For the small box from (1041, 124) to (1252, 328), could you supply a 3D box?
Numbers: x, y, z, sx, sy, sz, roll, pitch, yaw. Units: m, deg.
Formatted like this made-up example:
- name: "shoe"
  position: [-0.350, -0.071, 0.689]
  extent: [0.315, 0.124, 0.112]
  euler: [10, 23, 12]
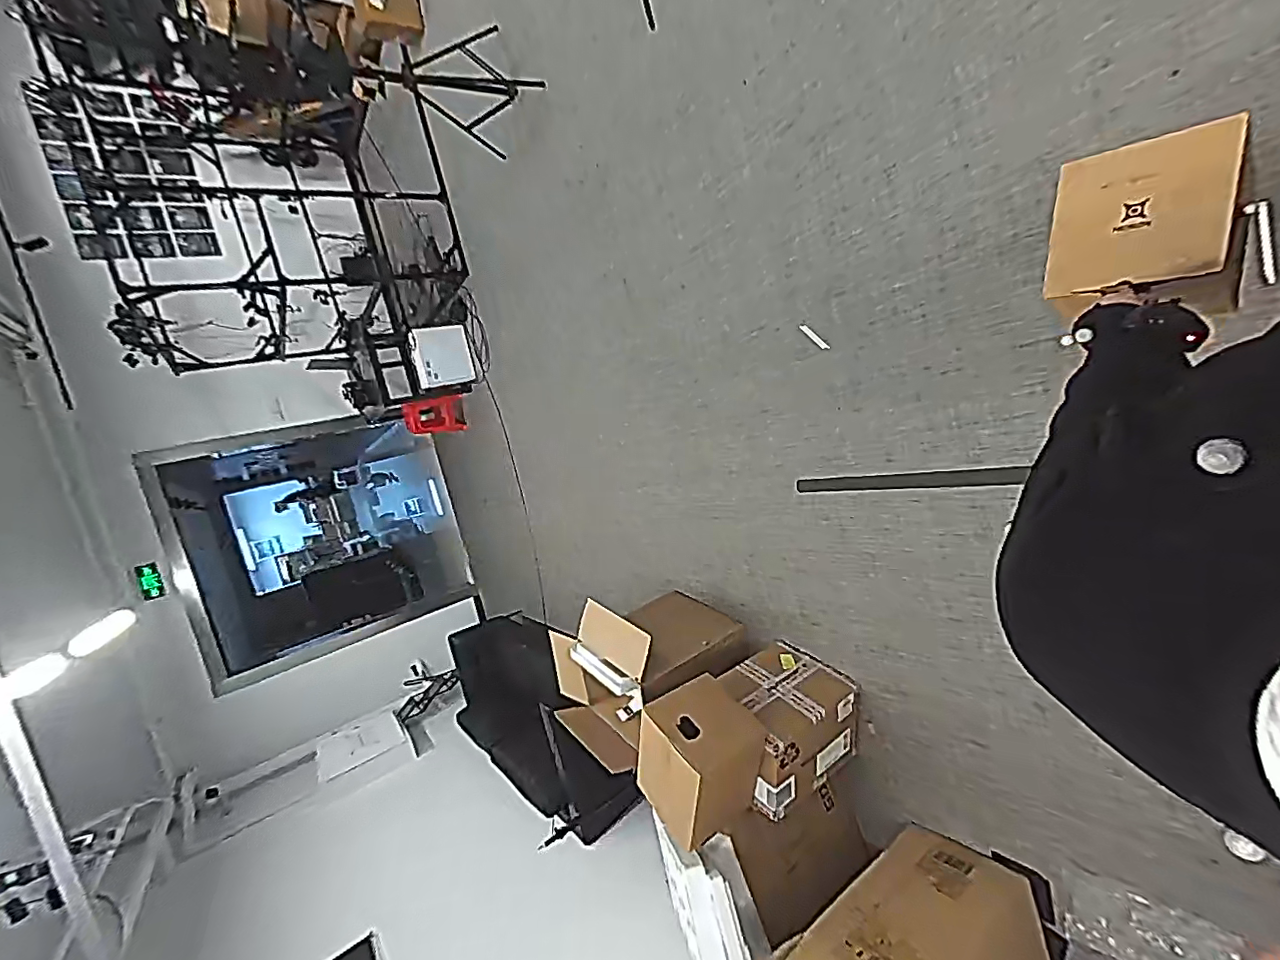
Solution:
- name: "small box"
  position: [0.653, -0.303, 0.698]
  extent: [0.168, 0.176, 0.179]
  euler: [10, 92, 50]
